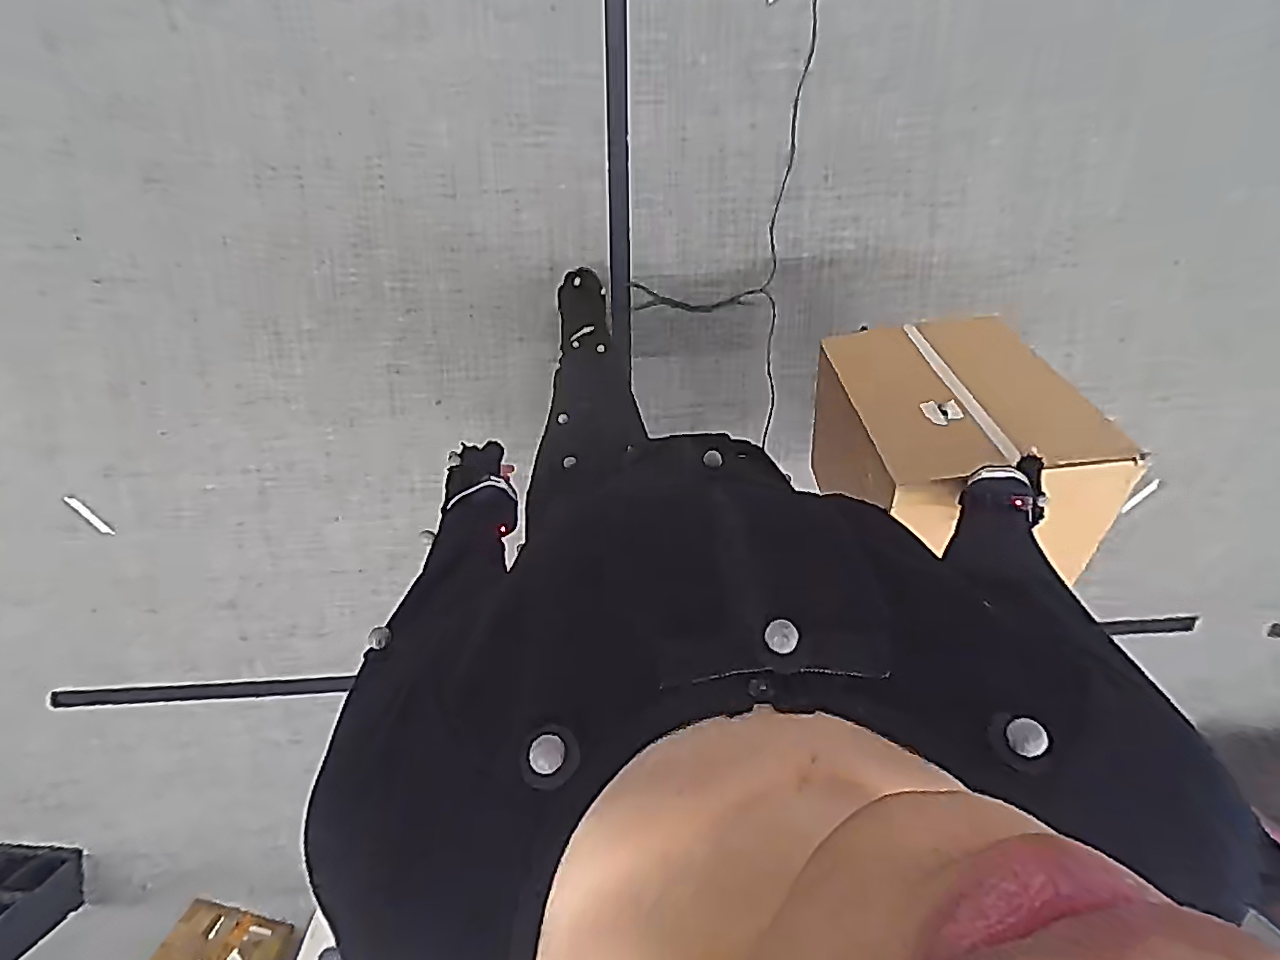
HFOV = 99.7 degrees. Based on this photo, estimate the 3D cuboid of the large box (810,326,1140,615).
[{"bbox_3d":[0.514,-0.025,0.957,0.320,0.408,0.320,-7,132,5],"label":"large box"}]
